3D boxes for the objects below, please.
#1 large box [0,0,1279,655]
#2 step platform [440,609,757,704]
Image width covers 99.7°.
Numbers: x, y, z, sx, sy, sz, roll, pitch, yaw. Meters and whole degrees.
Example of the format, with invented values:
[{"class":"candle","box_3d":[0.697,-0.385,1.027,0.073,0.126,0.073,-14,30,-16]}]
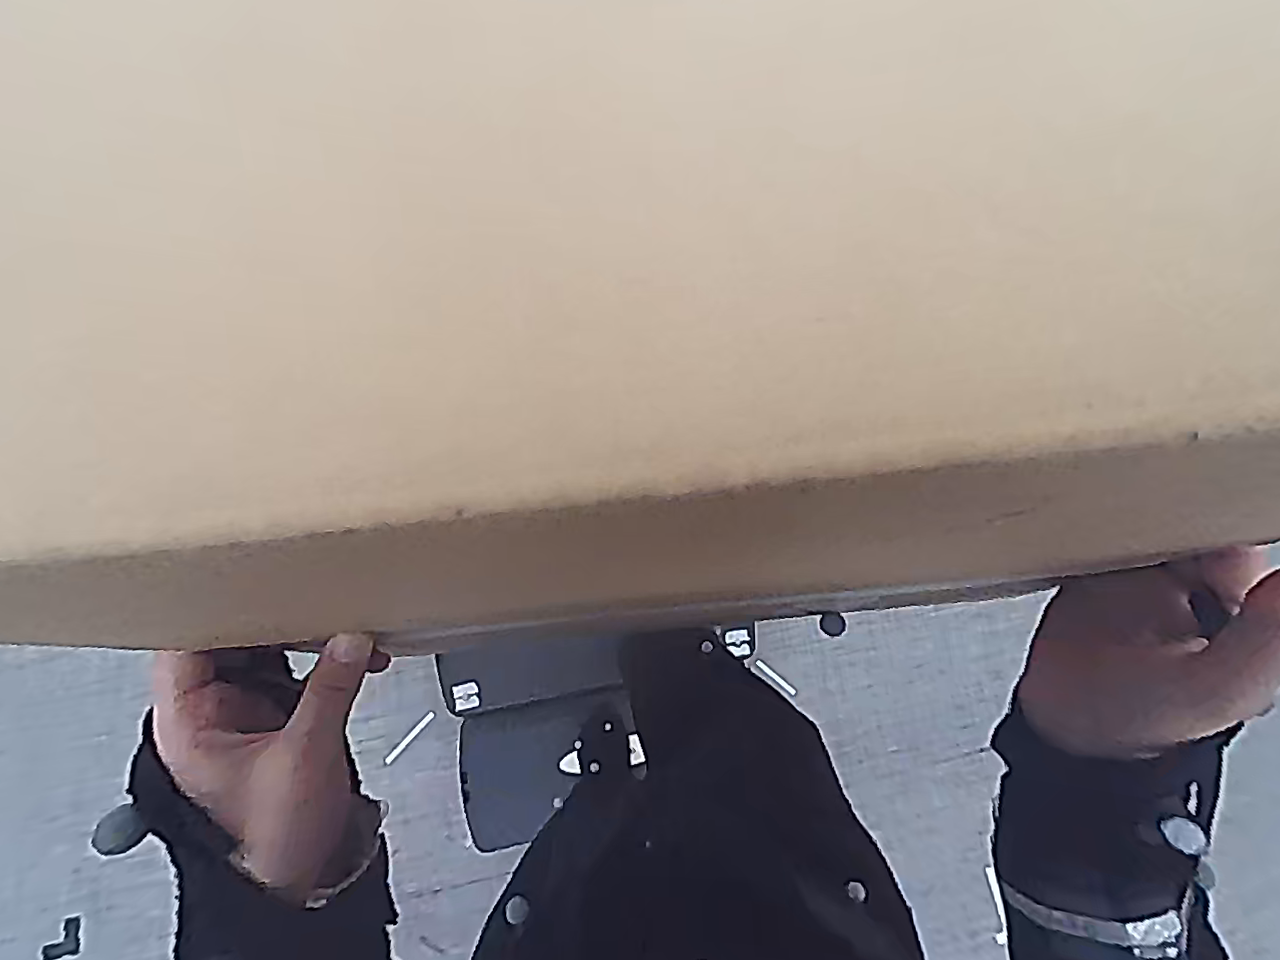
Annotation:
[{"class":"large box","box_3d":[-0.002,-0.096,0.284,0.408,0.320,0.320,-8,72,2]},{"class":"step platform","box_3d":[-0.088,0.308,1.213,0.684,0.204,0.286,-5,79,-6]}]
